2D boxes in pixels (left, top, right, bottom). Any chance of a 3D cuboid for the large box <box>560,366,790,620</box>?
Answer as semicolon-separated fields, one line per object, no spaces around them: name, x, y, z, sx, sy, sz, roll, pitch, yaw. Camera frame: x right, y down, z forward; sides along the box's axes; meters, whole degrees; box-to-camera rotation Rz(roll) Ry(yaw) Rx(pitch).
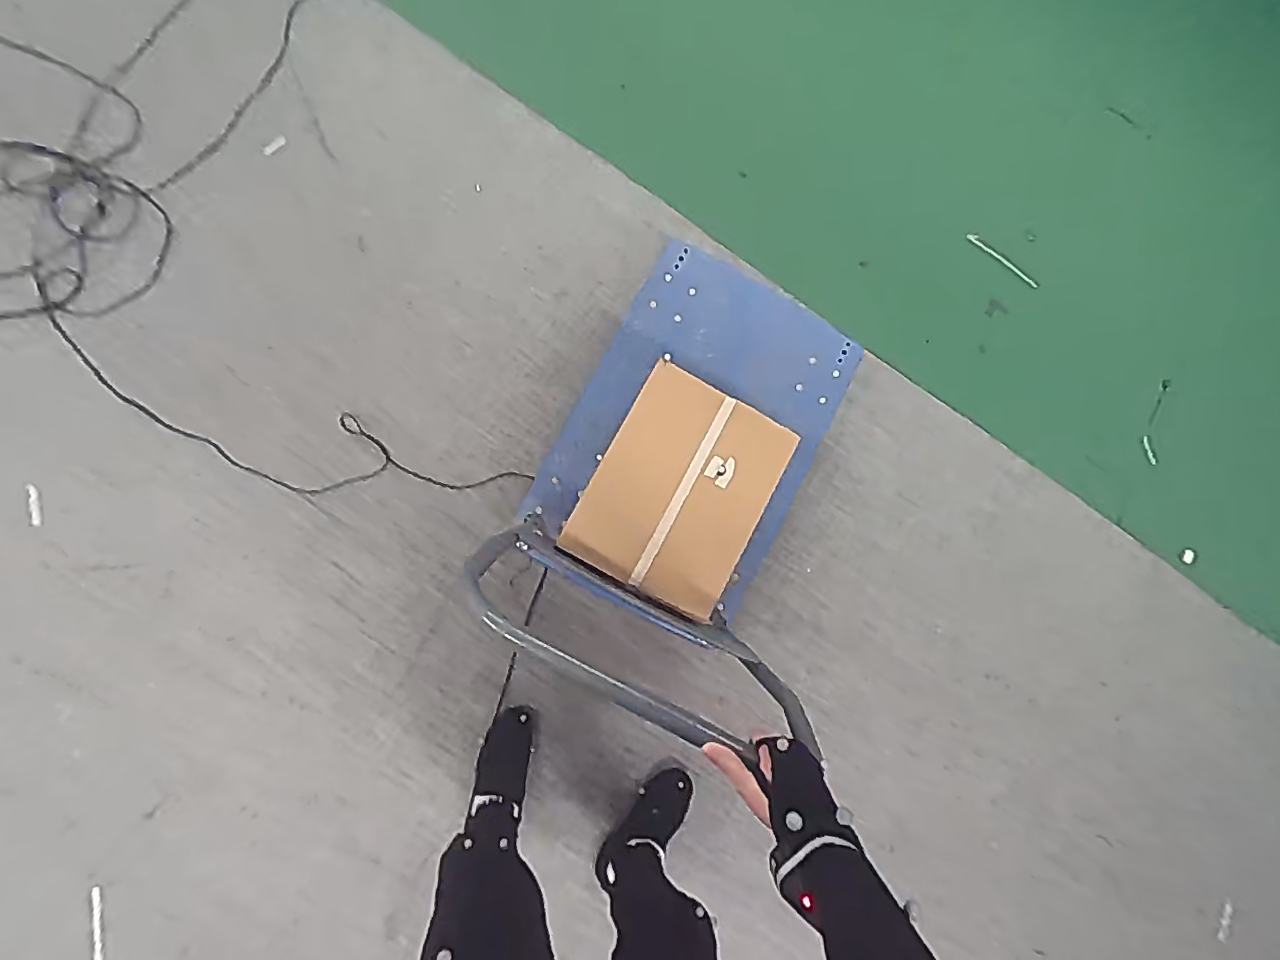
large box;0.057;0.039;1.173;0.320;0.320;0.408;29;81;-3
